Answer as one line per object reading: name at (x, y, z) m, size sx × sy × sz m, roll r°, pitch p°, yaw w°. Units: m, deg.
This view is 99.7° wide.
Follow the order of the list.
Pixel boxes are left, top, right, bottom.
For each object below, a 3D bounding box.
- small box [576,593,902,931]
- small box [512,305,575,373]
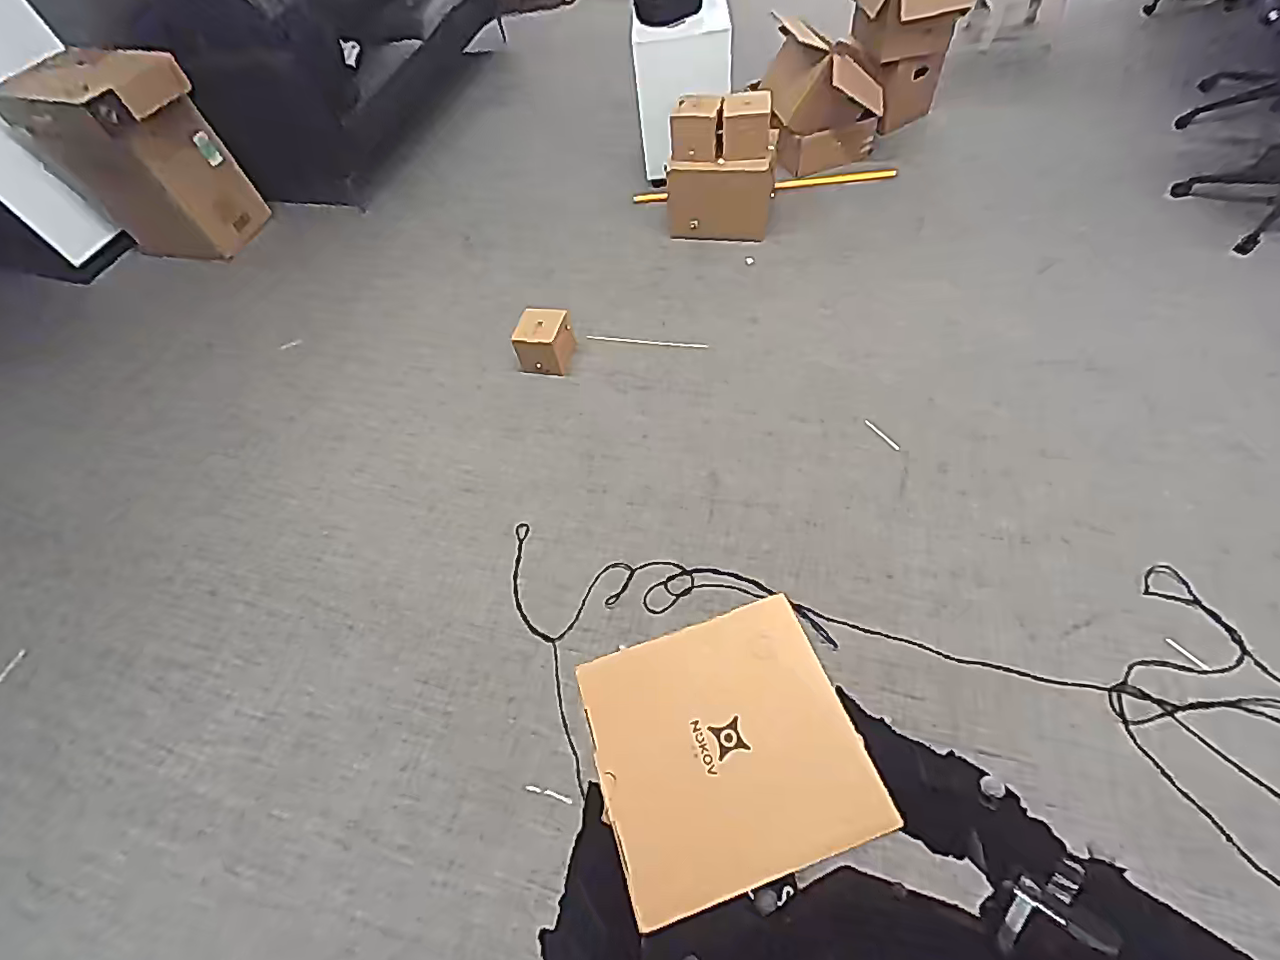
small box at (0.065, 0.218, 0.434) m, size 0.179 × 0.176 × 0.168 m, roll -19°, pitch 57°, yaw -4°
small box at (-0.352, -0.528, 2.026) m, size 0.168 × 0.176 × 0.179 m, roll 8°, pitch 59°, yaw 14°
